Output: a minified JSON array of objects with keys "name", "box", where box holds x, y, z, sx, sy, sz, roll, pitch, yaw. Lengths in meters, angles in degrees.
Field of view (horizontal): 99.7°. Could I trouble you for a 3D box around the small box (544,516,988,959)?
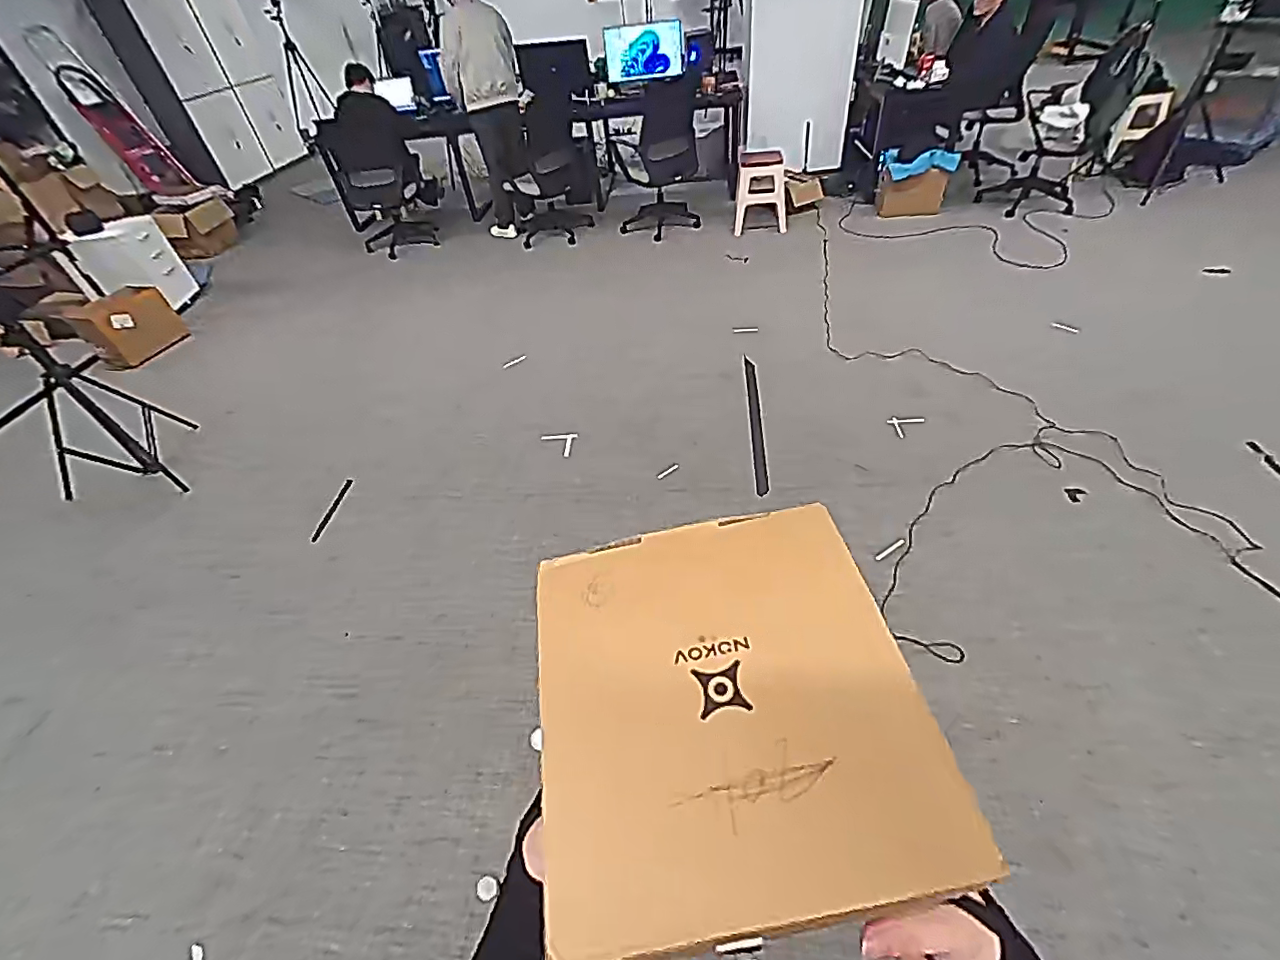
[{"name":"small box","box":[0.047,0.151,0.313,0.168,0.176,0.179,-13,48,-1]}]
